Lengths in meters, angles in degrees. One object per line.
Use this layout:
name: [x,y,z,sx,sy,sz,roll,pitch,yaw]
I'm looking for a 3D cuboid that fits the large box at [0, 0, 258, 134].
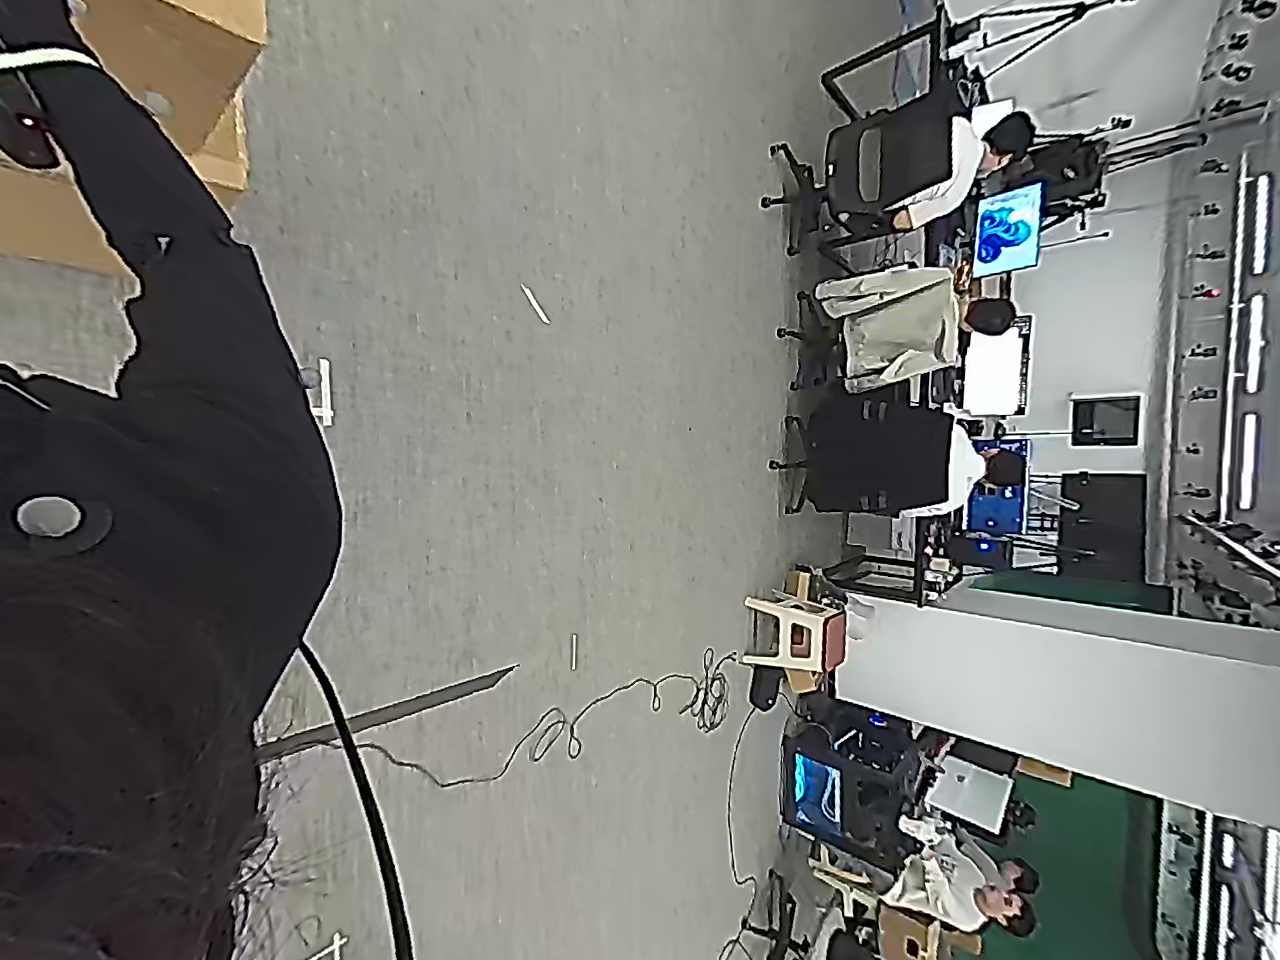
large box: [-0.628,-0.594,0.475,0.408,0.320,0.320,-5,97,-51]
